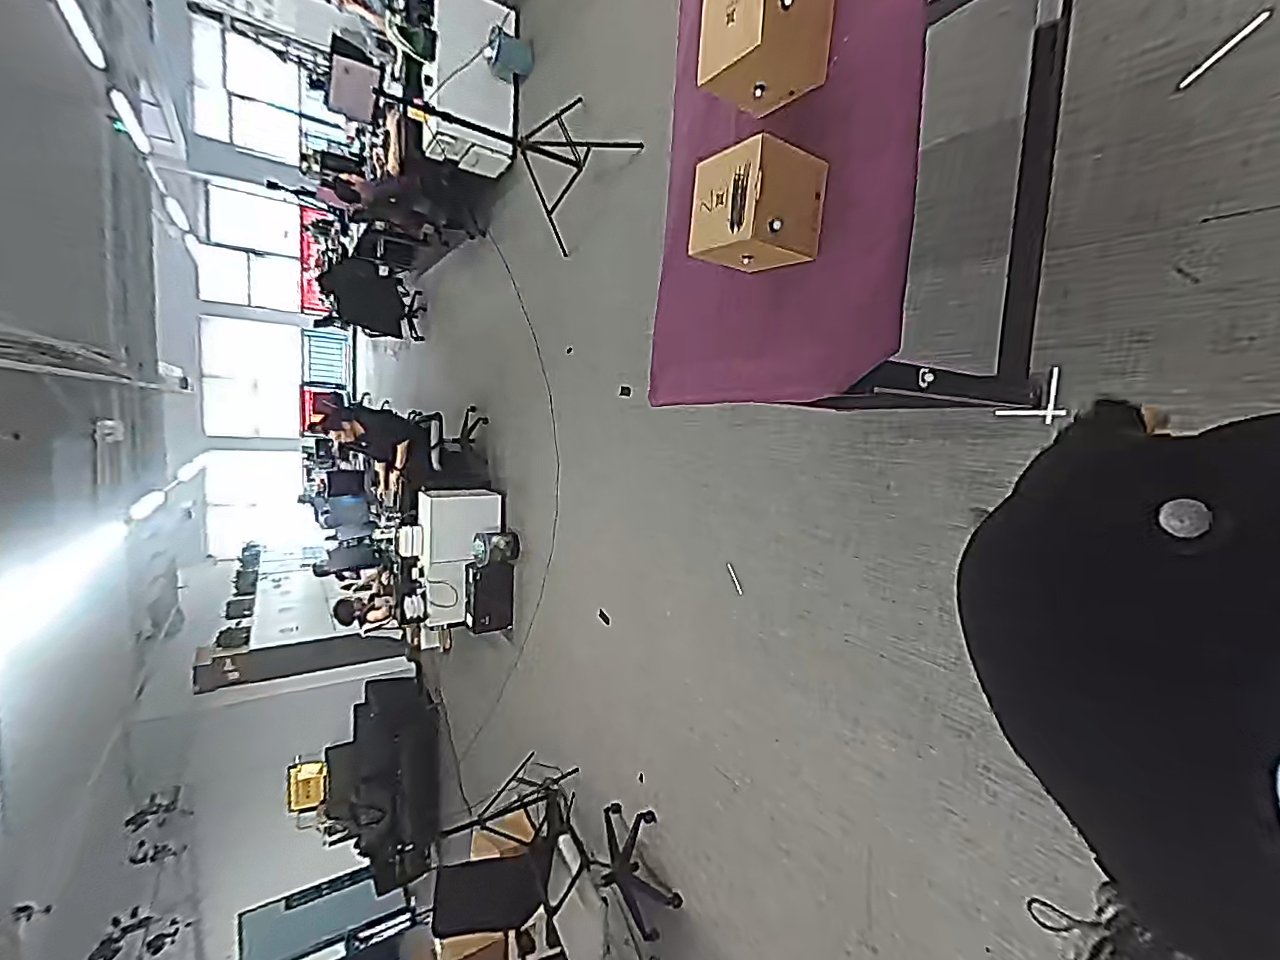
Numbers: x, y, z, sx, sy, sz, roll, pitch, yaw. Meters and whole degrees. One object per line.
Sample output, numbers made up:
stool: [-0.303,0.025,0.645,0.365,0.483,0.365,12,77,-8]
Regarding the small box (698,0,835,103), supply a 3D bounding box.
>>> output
small box: [0.226,-0.811,0.965,0.168,0.176,0.179,17,105,55]
